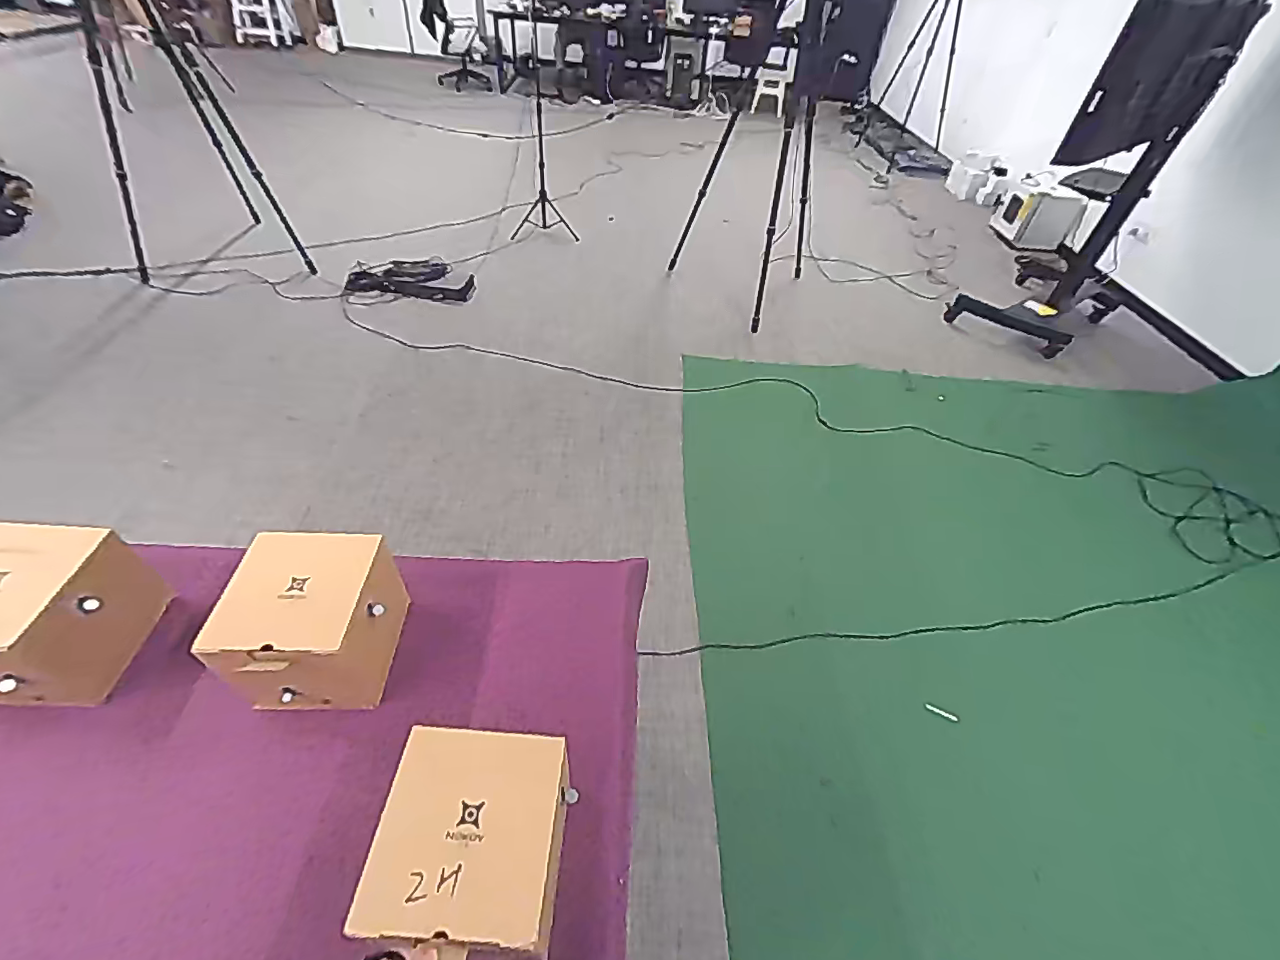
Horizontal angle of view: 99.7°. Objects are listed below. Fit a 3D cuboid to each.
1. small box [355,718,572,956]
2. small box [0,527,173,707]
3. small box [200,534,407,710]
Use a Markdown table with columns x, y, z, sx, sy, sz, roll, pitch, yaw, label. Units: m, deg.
| x | y | z | sx | sy | sz | roll | pitch | yaw | label |
| --- | --- | --- | --- | --- | --- | --- | --- | --- | --- |
| -0.166 | 0.382 | 0.579 | 0.168 | 0.176 | 0.179 | 5 | 45 | 0 | small box |
| -0.784 | 0.185 | 0.717 | 0.168 | 0.176 | 0.179 | 4 | 46 | -3 | small box |
| -0.436 | 0.194 | 0.741 | 0.168 | 0.176 | 0.179 | 1 | 46 | -4 | small box |
